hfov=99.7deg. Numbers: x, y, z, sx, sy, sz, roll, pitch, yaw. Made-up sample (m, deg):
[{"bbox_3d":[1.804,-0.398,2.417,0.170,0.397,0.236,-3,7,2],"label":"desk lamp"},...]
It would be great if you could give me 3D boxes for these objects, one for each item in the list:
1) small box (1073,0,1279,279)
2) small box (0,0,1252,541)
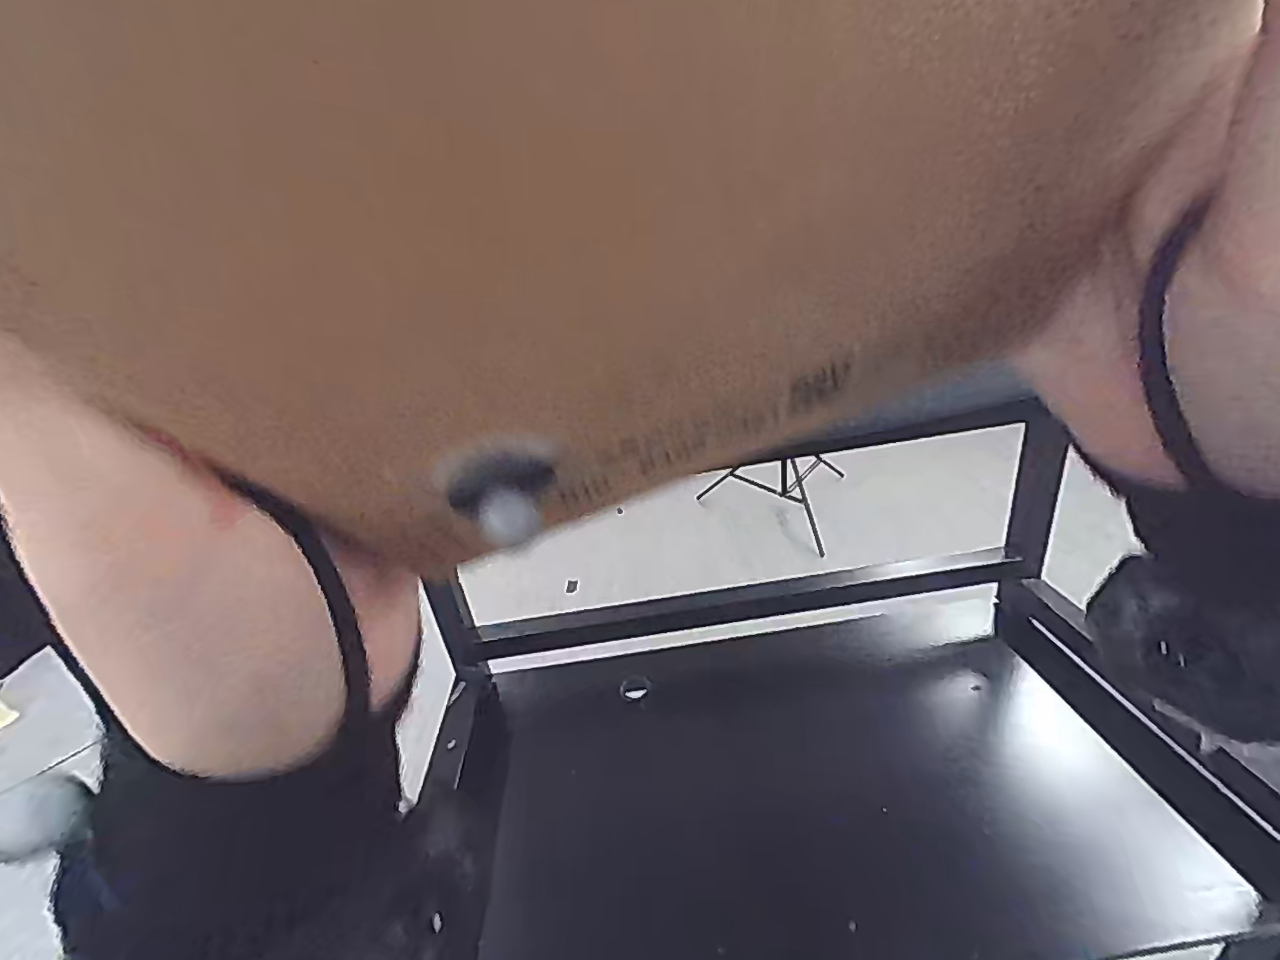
[{"bbox_3d":[0.430,-0.251,0.404,0.168,0.176,0.179,-9,24,1],"label":"small box"},{"bbox_3d":[-0.015,-0.105,0.107,0.168,0.176,0.179,-22,60,-1],"label":"small box"}]
